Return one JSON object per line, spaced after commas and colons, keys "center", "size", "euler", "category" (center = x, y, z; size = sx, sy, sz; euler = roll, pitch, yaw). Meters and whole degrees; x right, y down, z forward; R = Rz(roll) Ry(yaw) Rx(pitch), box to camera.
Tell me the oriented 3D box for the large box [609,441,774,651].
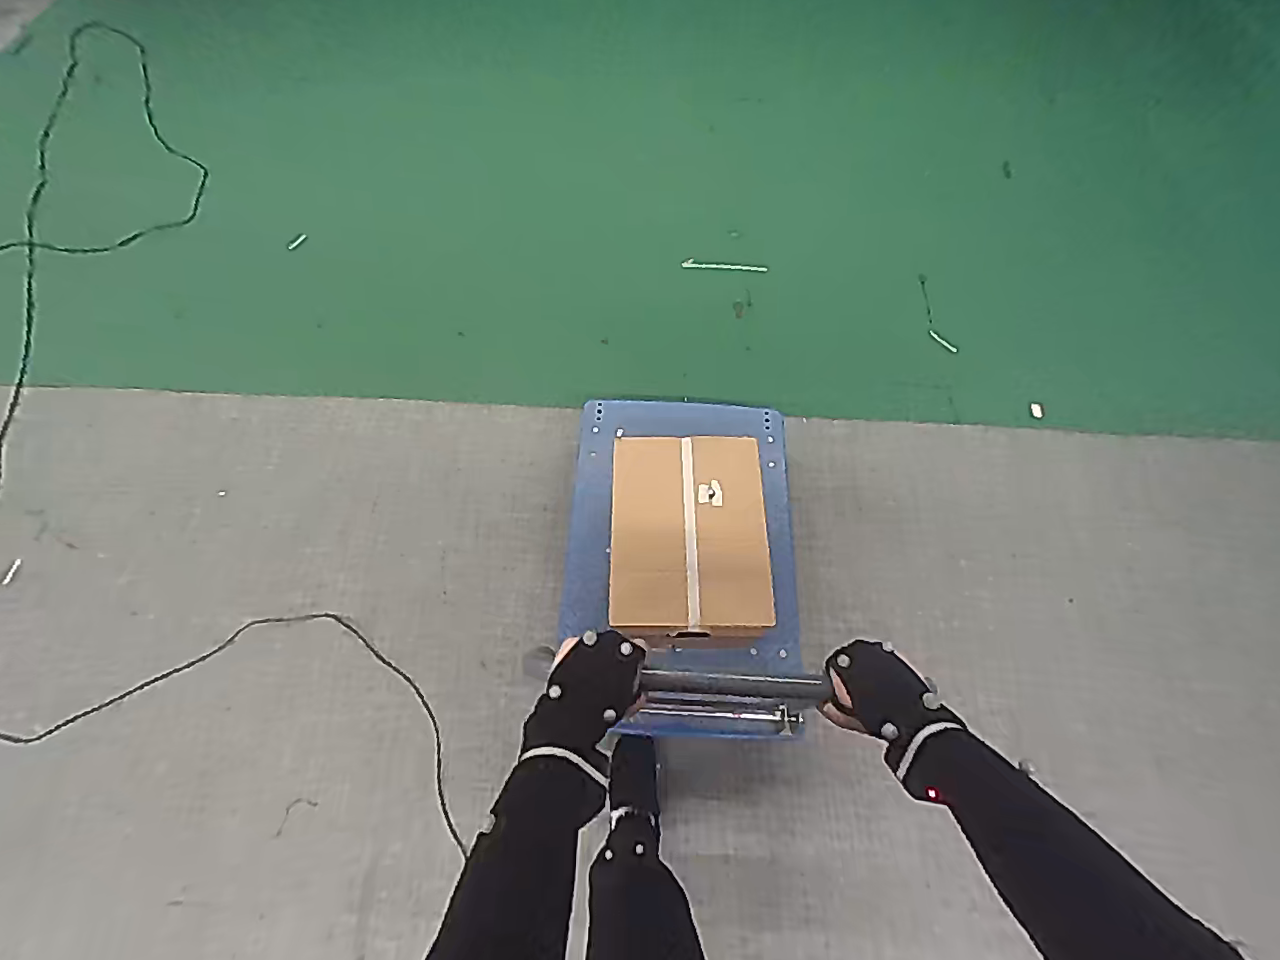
{"center": [0.096, 0.160, 1.230], "size": [0.320, 0.320, 0.408], "euler": [0, 65, -1], "category": "large box"}
